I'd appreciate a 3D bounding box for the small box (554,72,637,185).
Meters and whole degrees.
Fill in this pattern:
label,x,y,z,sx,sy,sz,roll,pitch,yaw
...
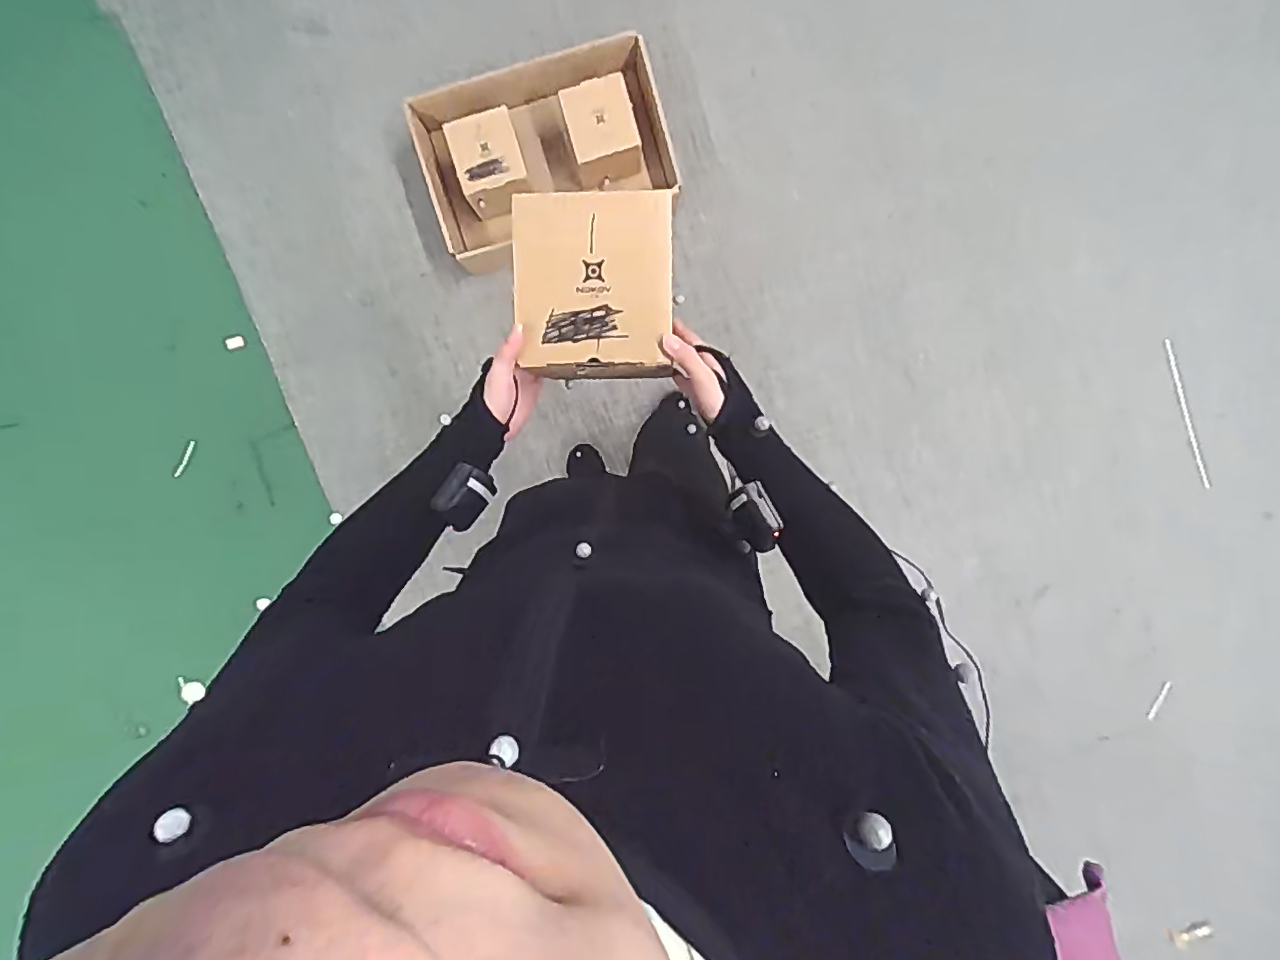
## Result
label,x,y,z,sx,sy,sz,roll,pitch,yaw
small box,-0.109,-0.885,1.384,0.168,0.176,0.179,-16,96,1

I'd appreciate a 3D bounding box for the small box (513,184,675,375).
label,x,y,z,sx,sy,sz,roll,pitch,yaw
small box,-0.044,-0.216,0.627,0.168,0.176,0.179,0,94,1
